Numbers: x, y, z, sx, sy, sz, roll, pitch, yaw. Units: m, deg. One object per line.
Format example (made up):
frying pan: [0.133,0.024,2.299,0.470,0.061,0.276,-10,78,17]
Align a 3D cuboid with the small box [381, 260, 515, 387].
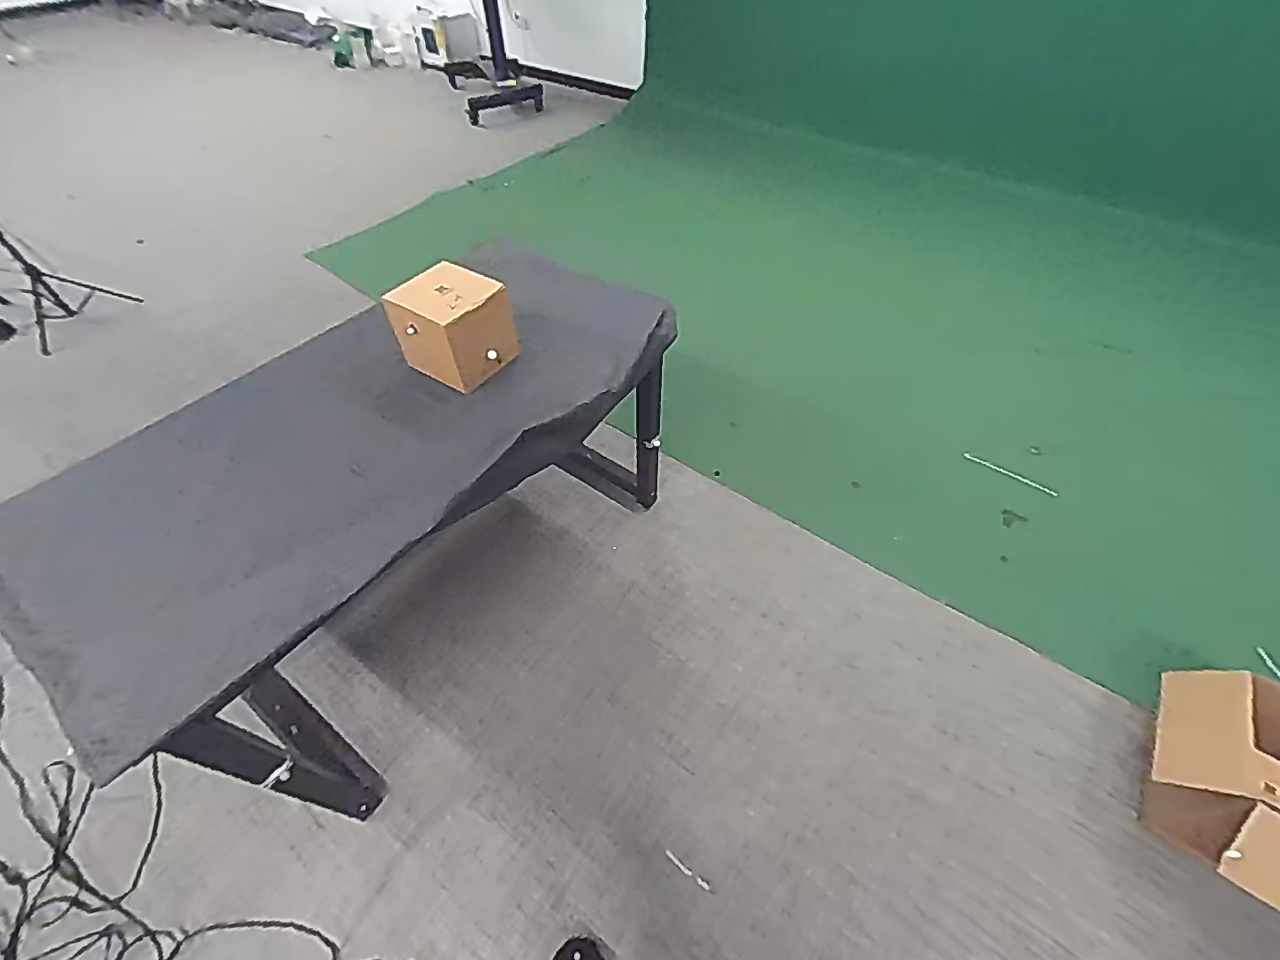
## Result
small box: [-0.385,-0.317,1.110,0.179,0.176,0.168,27,56,20]
